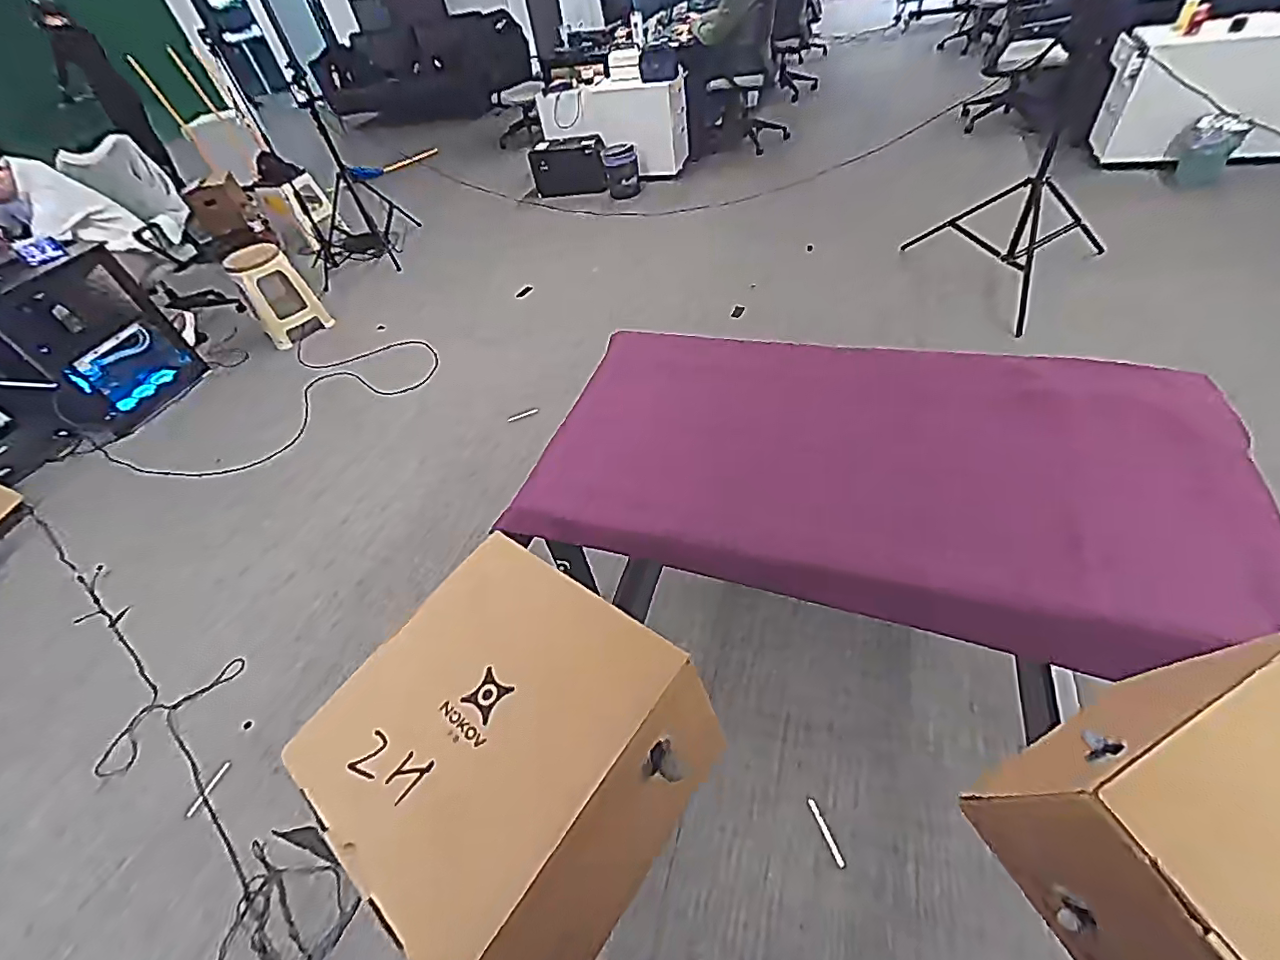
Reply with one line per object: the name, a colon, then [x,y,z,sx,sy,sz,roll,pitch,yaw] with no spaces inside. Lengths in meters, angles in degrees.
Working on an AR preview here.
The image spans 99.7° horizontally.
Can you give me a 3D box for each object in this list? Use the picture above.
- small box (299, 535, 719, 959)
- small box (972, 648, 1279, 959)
small box: [-0.062,0.175,0.354,0.168,0.176,0.179,25,62,33]
small box: [0.344,0.220,0.313,0.179,0.176,0.168,-27,60,-10]
